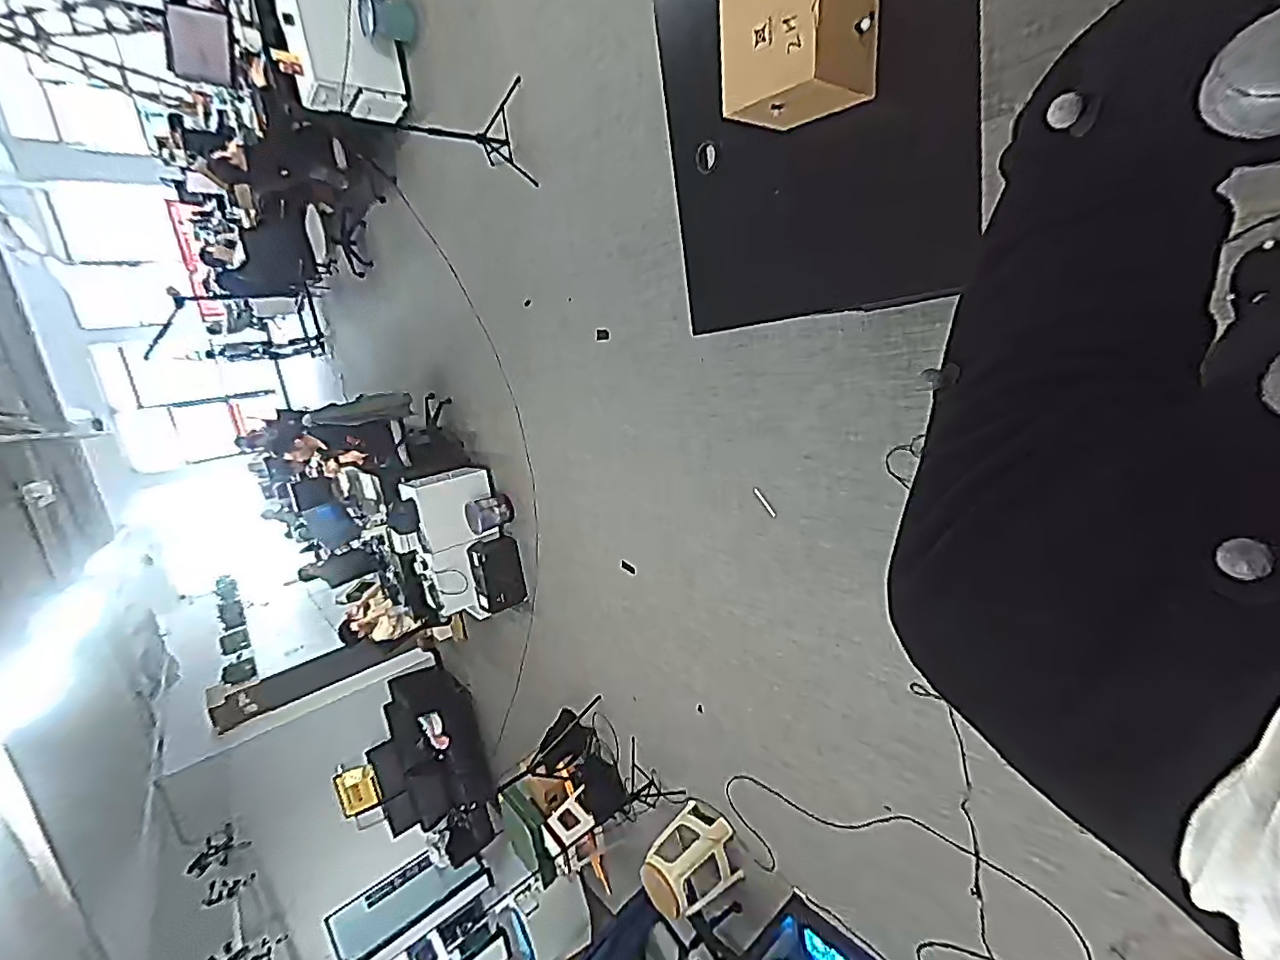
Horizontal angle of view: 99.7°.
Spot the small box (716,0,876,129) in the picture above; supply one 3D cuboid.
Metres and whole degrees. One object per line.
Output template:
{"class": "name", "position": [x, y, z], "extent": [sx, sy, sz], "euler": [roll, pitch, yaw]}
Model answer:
{"class": "small box", "position": [0.240, -0.672, 0.843], "extent": [0.179, 0.176, 0.168], "euler": [15, 117, 49]}
